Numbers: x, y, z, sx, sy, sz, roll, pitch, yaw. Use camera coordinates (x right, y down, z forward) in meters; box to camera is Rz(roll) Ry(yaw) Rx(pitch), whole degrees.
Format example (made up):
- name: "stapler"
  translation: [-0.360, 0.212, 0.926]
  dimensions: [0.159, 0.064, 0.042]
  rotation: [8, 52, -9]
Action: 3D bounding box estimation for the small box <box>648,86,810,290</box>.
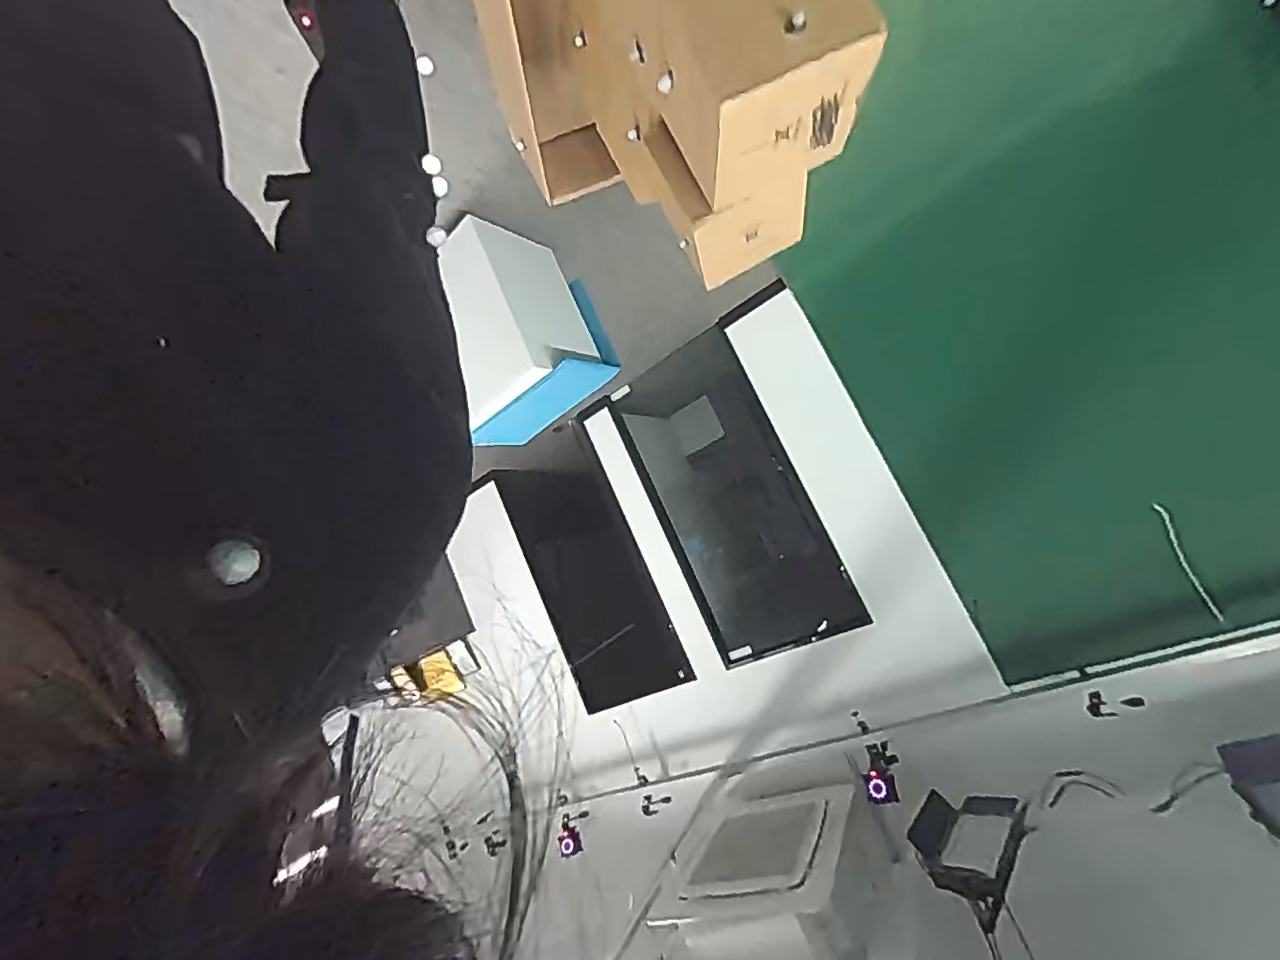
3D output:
- name: "small box"
  translation: [0.127, -0.420, 0.784]
  dimensions: [0.168, 0.176, 0.179]
  rotation: [-27, 167, 8]
